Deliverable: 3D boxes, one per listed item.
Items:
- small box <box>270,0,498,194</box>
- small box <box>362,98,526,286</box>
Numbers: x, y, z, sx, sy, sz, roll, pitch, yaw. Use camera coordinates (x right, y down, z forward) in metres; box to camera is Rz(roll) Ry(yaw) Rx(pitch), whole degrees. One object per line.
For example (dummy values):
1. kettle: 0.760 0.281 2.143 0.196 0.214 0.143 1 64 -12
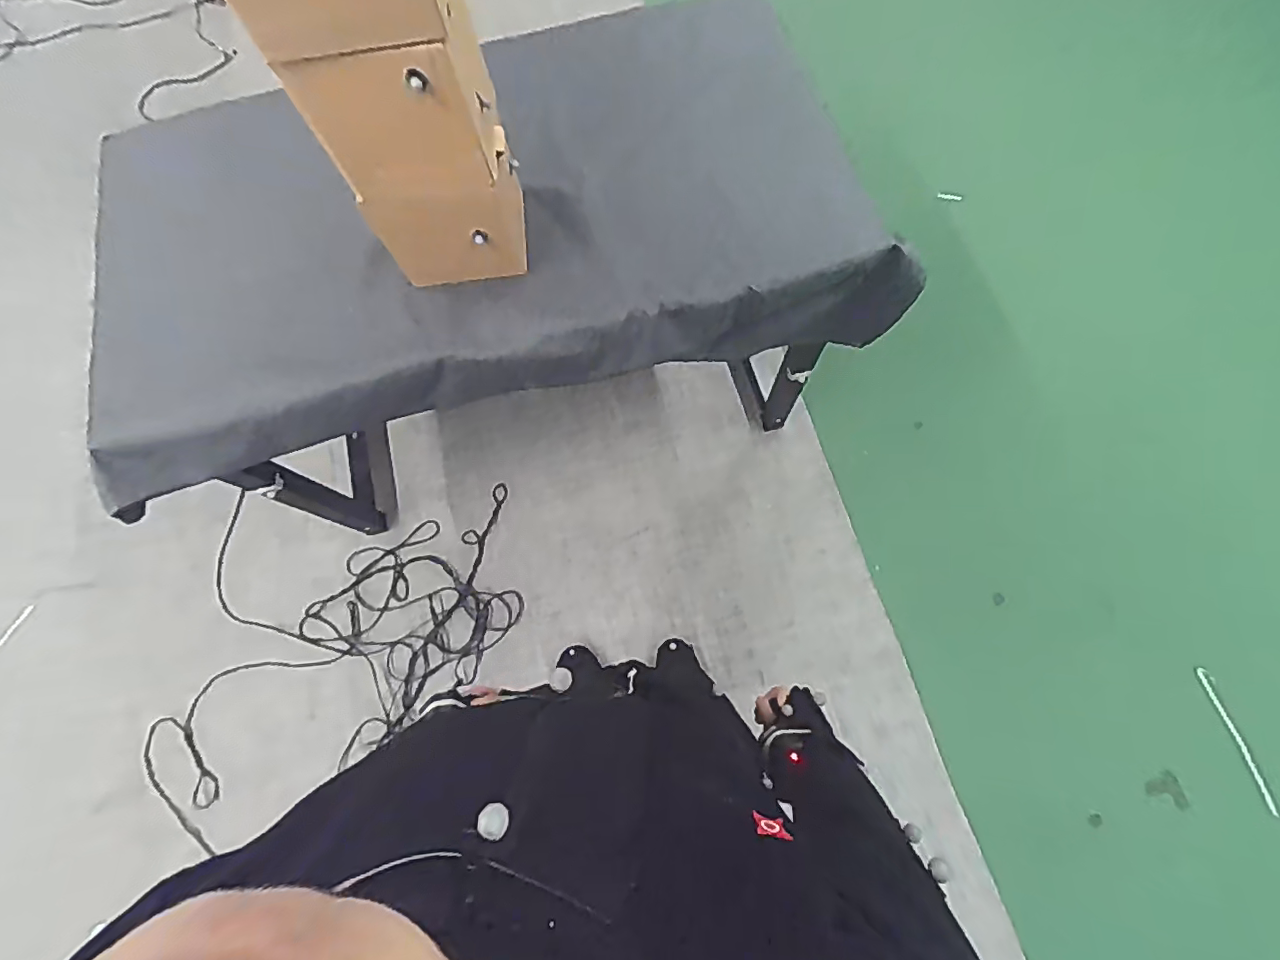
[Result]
1. small box: -0.273 -0.456 0.617 0.179 0.176 0.168 -7 71 0
2. small box: -0.265 -0.402 0.770 0.179 0.176 0.168 -7 71 1
